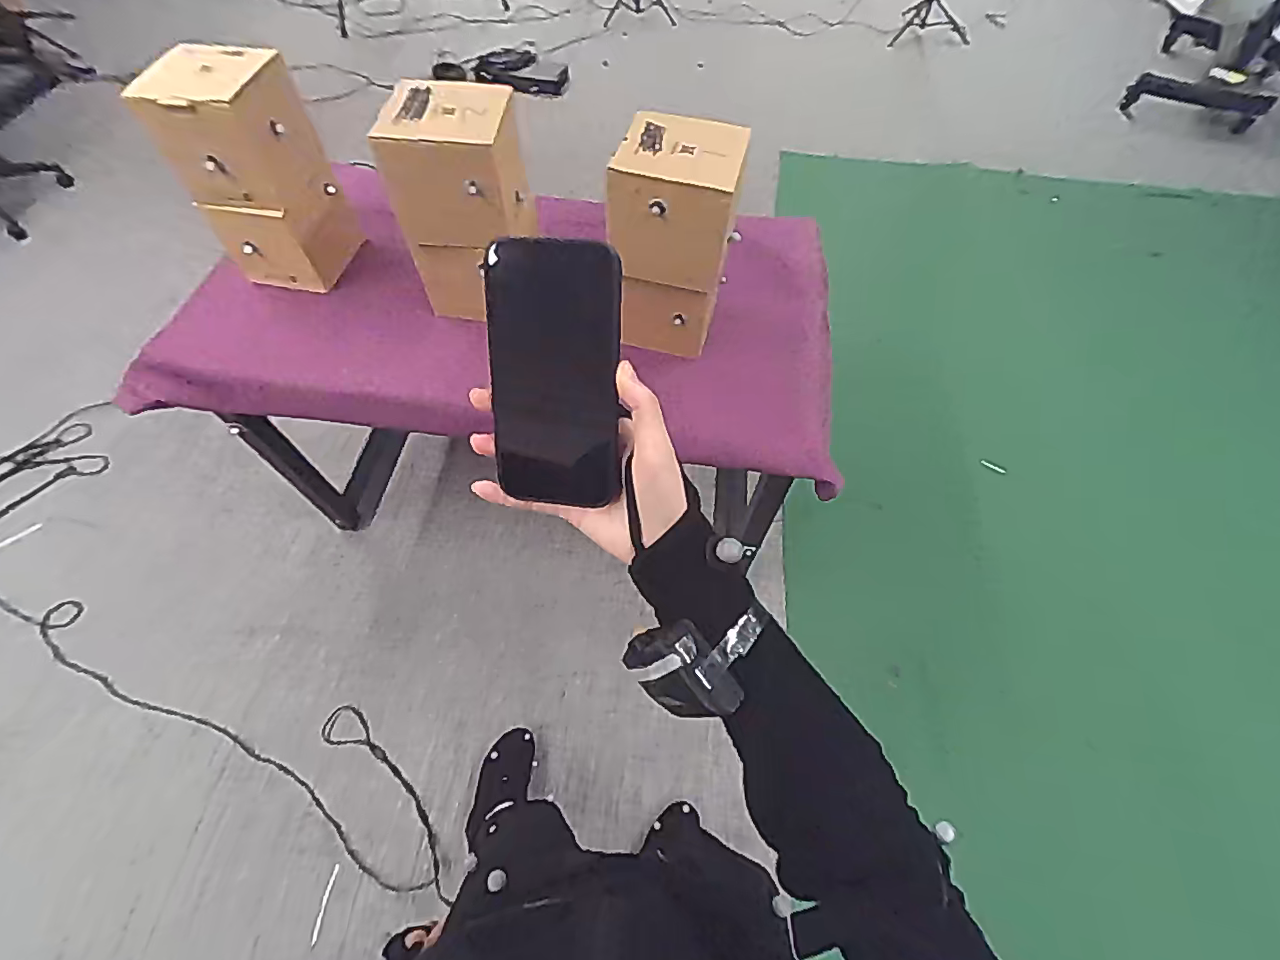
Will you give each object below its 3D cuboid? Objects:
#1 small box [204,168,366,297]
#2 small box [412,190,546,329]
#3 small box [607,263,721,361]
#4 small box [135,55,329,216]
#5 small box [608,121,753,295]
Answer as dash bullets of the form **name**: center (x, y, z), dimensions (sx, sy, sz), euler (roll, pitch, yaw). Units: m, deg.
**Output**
- **small box**: center (-0.665, -0.478, 1.042), dimensions (0.168, 0.176, 0.179), euler (9, 59, 4)
- **small box**: center (-0.283, -0.402, 1.002), dimensions (0.179, 0.176, 0.168), euler (9, 59, 4)
- **small box**: center (0.050, -0.338, 0.973), dimensions (0.179, 0.176, 0.168), euler (14, 59, 8)
- **small box**: center (-0.660, -0.571, 0.906), dimensions (0.168, 0.176, 0.179), euler (5, 60, 1)
- **small box**: center (0.059, -0.408, 0.824), dimensions (0.179, 0.176, 0.168), euler (14, 59, 7)
